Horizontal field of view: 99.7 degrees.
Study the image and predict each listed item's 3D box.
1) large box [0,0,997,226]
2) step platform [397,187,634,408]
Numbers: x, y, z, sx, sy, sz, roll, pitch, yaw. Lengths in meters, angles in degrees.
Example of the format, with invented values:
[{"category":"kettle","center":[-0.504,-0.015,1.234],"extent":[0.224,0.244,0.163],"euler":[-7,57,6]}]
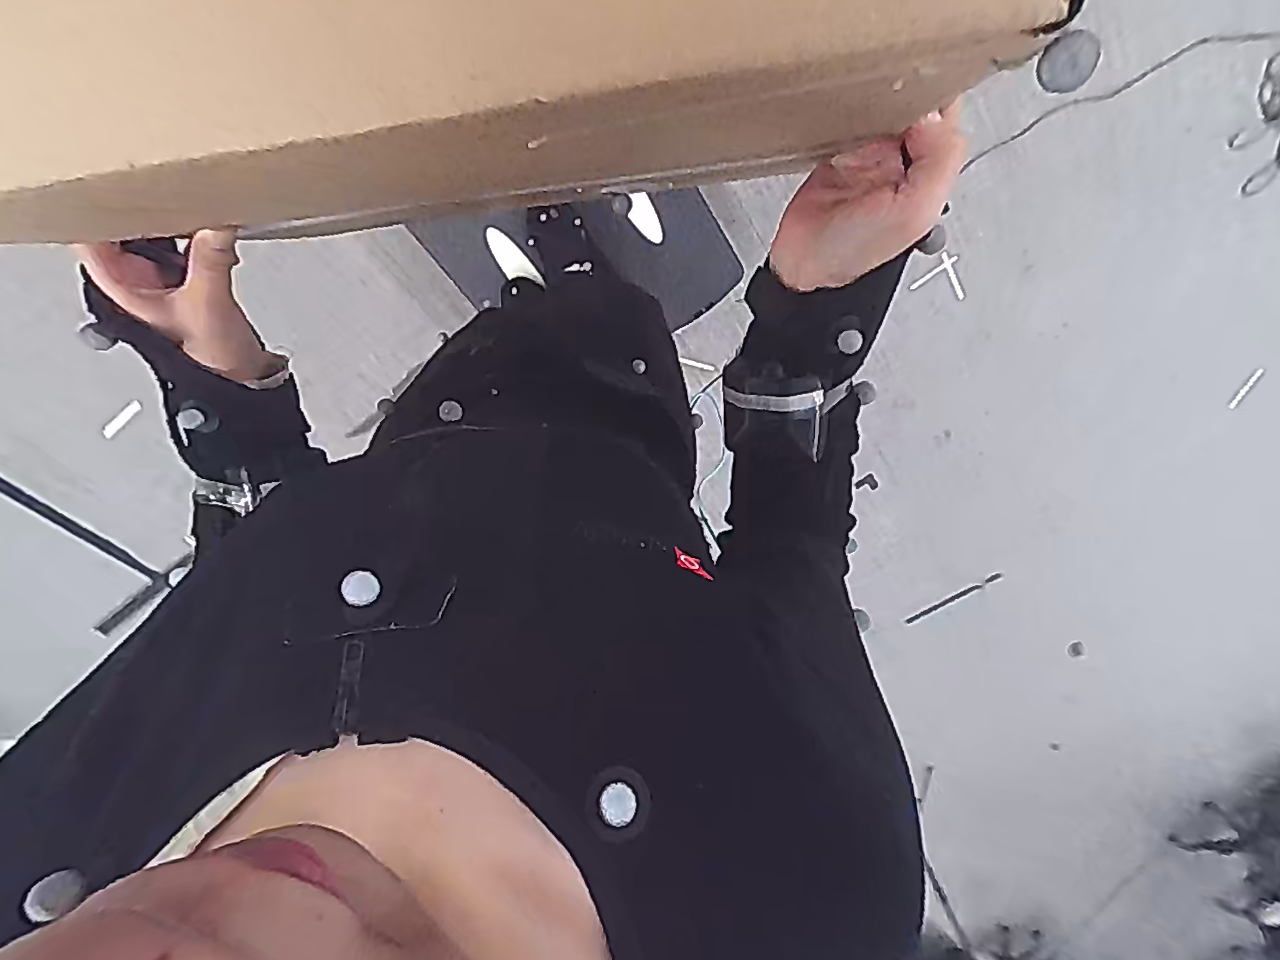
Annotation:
[{"category":"large box","center":[-0.107,-0.299,0.217],"extent":[0.408,0.320,0.320],"euler":[-3,116,9]},{"category":"step platform","center":[-0.289,-0.506,1.274],"extent":[0.286,0.204,0.684],"euler":[-29,118,10]}]
